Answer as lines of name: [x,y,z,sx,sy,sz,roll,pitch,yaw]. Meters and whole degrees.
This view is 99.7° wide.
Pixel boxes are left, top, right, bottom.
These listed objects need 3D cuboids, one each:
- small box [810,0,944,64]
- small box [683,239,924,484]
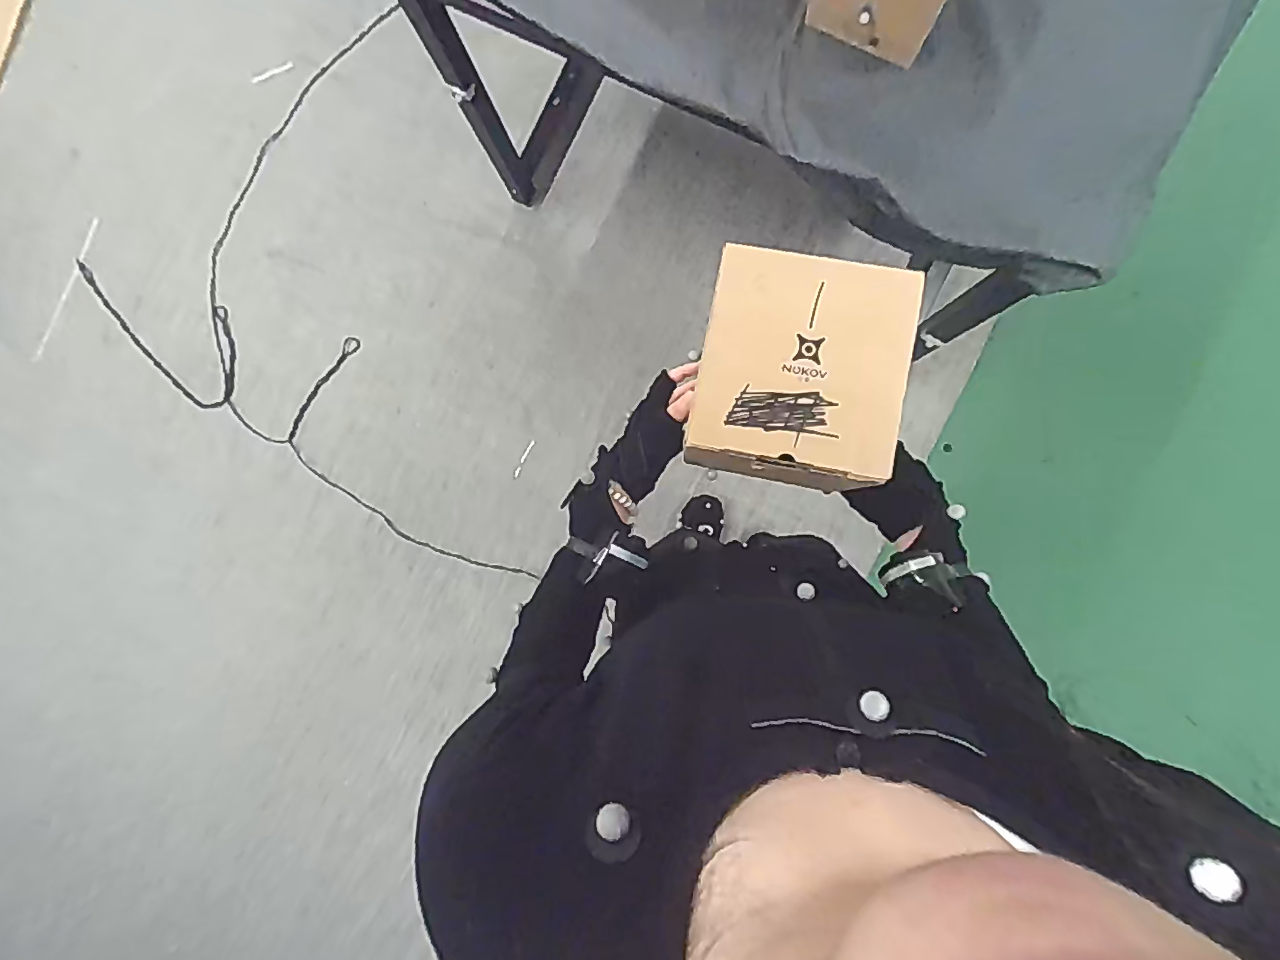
small box: [0.340,-0.699,0.689,0.168,0.176,0.179,28,91,4]
small box: [0.139,-0.096,0.519,0.168,0.176,0.179,11,87,4]
